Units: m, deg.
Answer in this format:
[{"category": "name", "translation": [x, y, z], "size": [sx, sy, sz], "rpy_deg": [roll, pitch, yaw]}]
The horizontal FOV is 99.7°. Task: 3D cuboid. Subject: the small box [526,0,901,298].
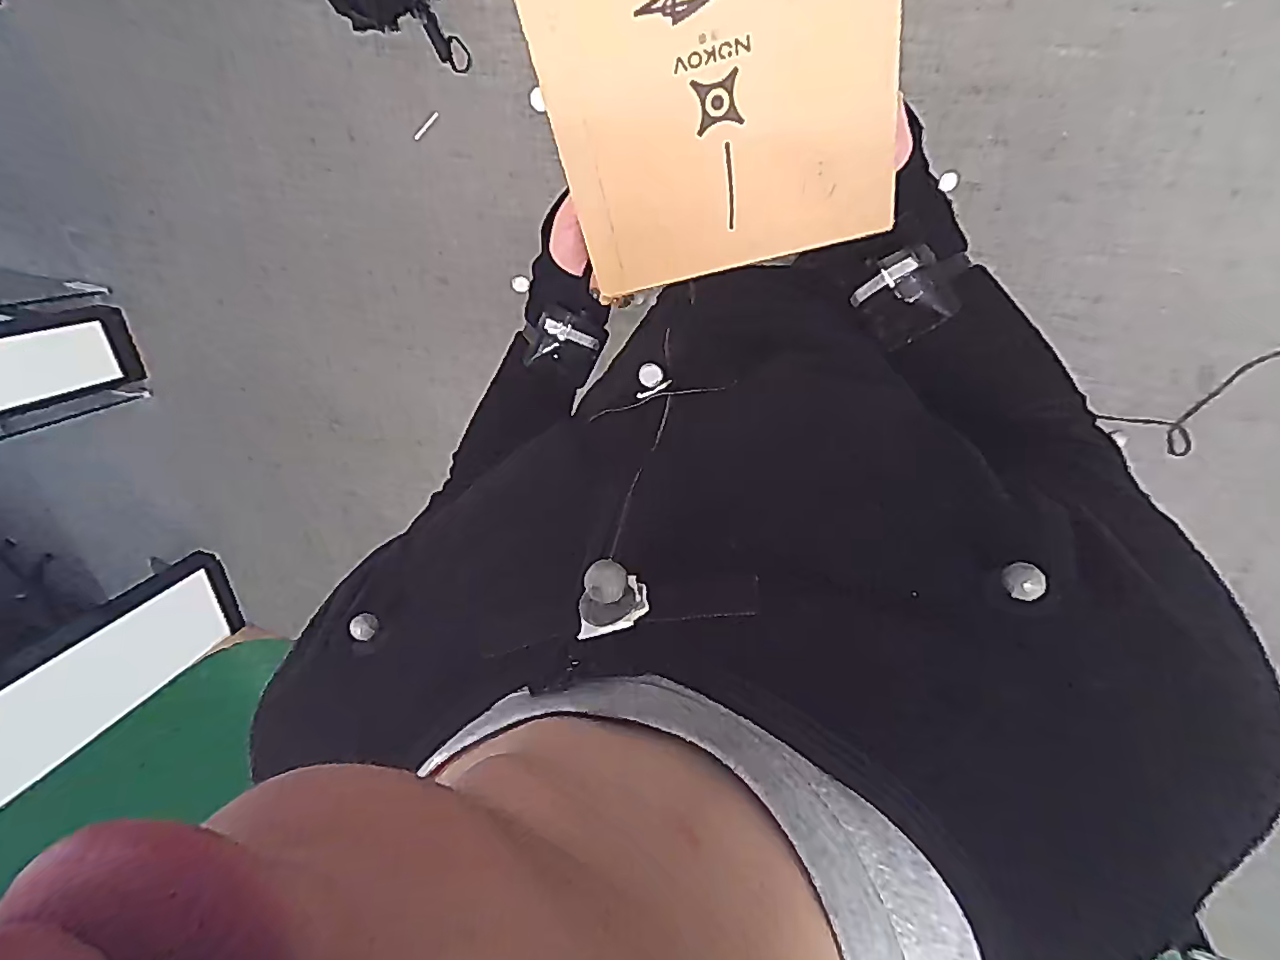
[{"category": "small box", "translation": [0.040, -0.236, 0.322], "size": [0.168, 0.176, 0.179], "rpy_deg": [-10, 127, 9]}]
